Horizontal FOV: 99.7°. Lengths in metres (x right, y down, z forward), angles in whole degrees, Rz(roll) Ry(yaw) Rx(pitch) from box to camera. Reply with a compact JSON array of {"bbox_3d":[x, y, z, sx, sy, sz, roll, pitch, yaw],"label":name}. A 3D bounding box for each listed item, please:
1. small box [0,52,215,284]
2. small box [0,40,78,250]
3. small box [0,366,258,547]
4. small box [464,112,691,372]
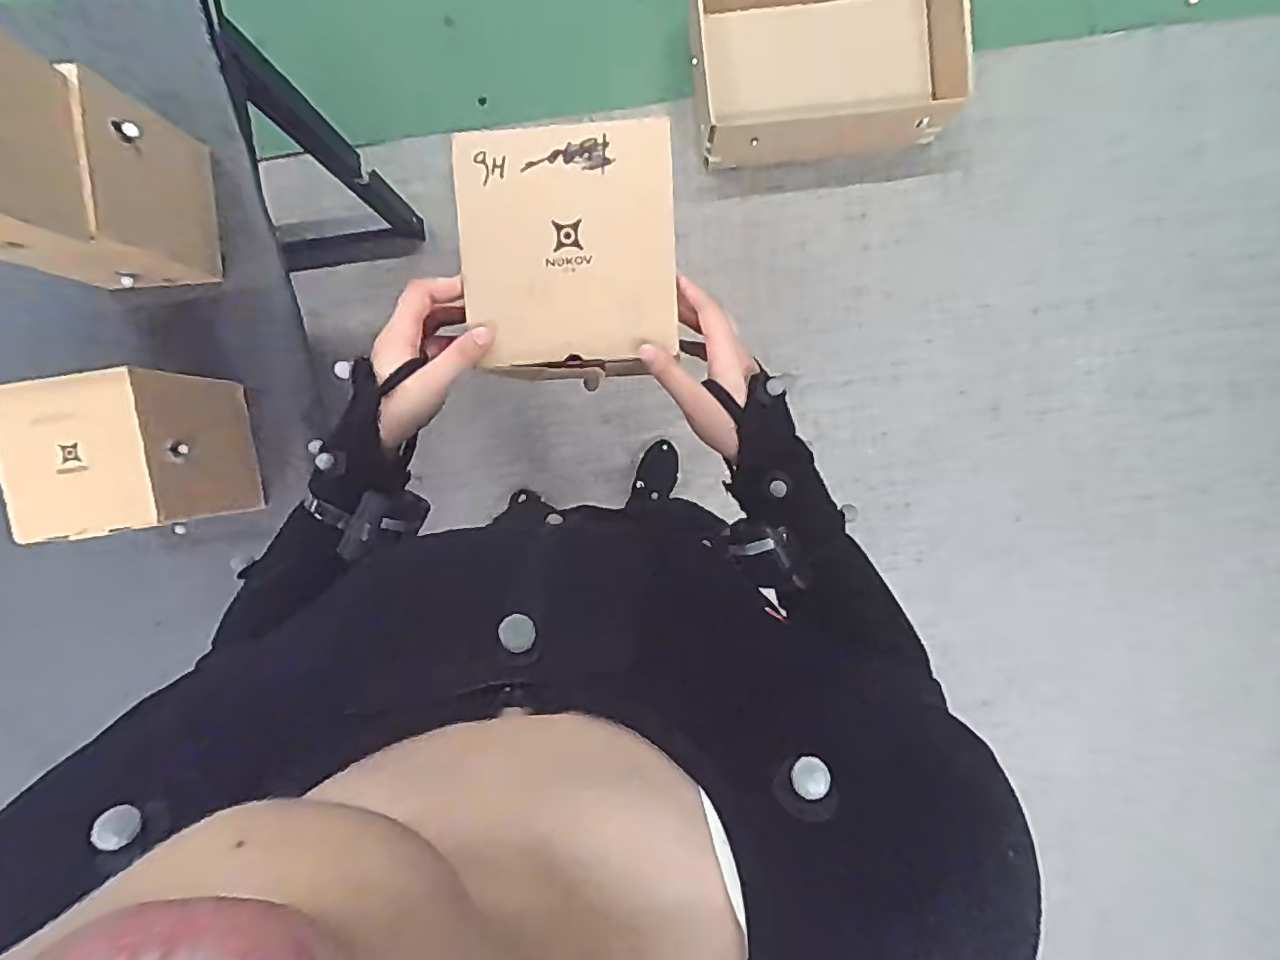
[{"bbox_3d":[-0.642,-0.343,0.626,0.168,0.176,0.179,-3,95,2],"label":"small box"},{"bbox_3d":[-0.655,-0.314,0.464,0.168,0.176,0.179,-5,96,1],"label":"small box"},{"bbox_3d":[-0.606,-0.030,0.654,0.168,0.176,0.179,-9,93,0],"label":"small box"},{"bbox_3d":[-0.040,-0.188,0.483,0.168,0.176,0.179,-3,99,3],"label":"small box"}]
